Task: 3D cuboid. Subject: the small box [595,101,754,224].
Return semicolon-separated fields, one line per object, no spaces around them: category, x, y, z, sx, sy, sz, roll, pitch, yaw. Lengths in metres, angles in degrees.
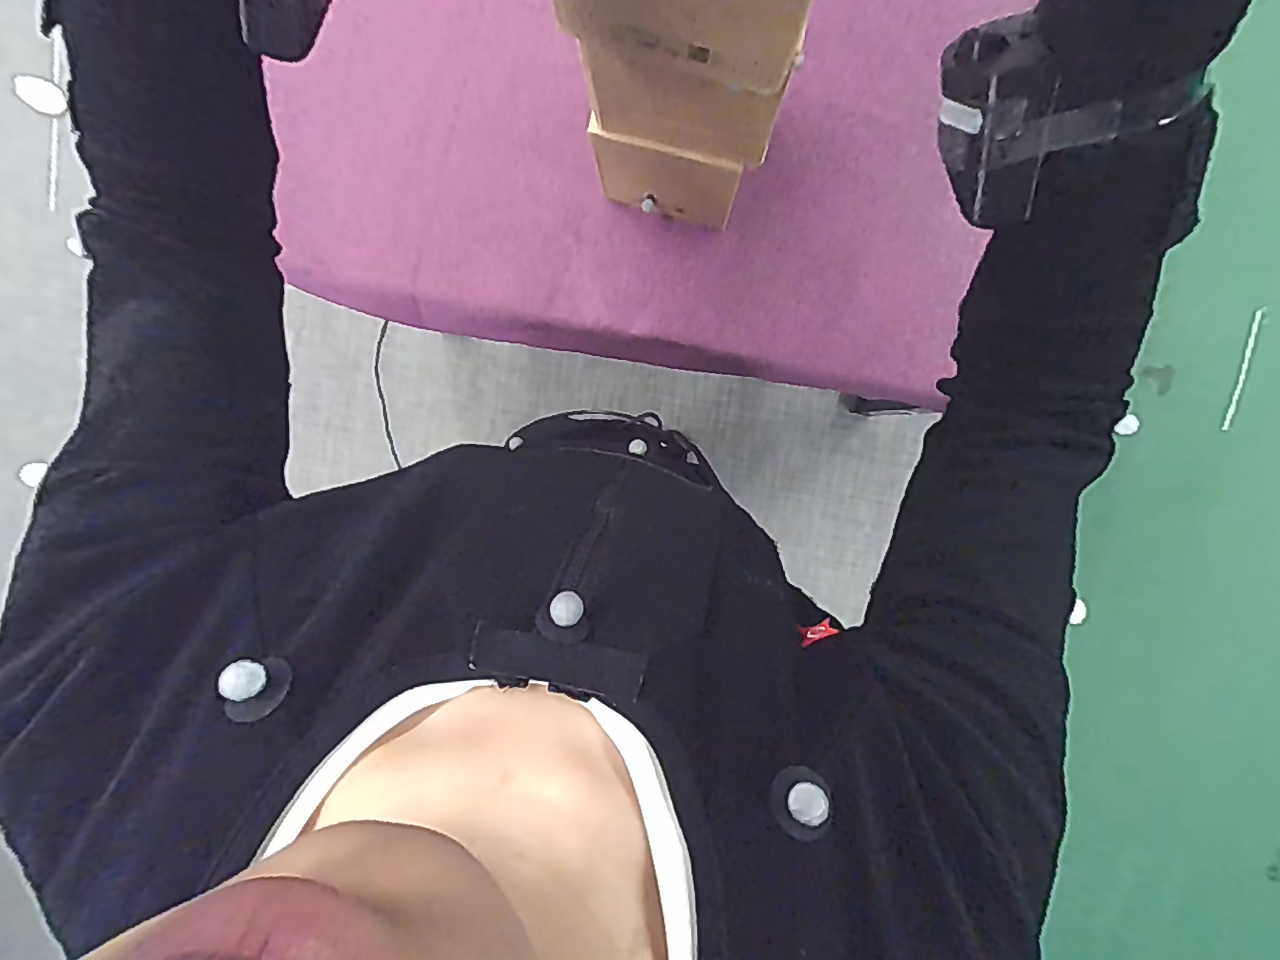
small box;0.057;-0.425;0.613;0.168;0.176;0.179;15;97;1

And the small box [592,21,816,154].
small box;0.057;-0.408;0.452;0.179;0.176;0.168;13;96;1

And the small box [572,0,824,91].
small box;0.047;-0.368;0.292;0.168;0.176;0.179;16;96;1
